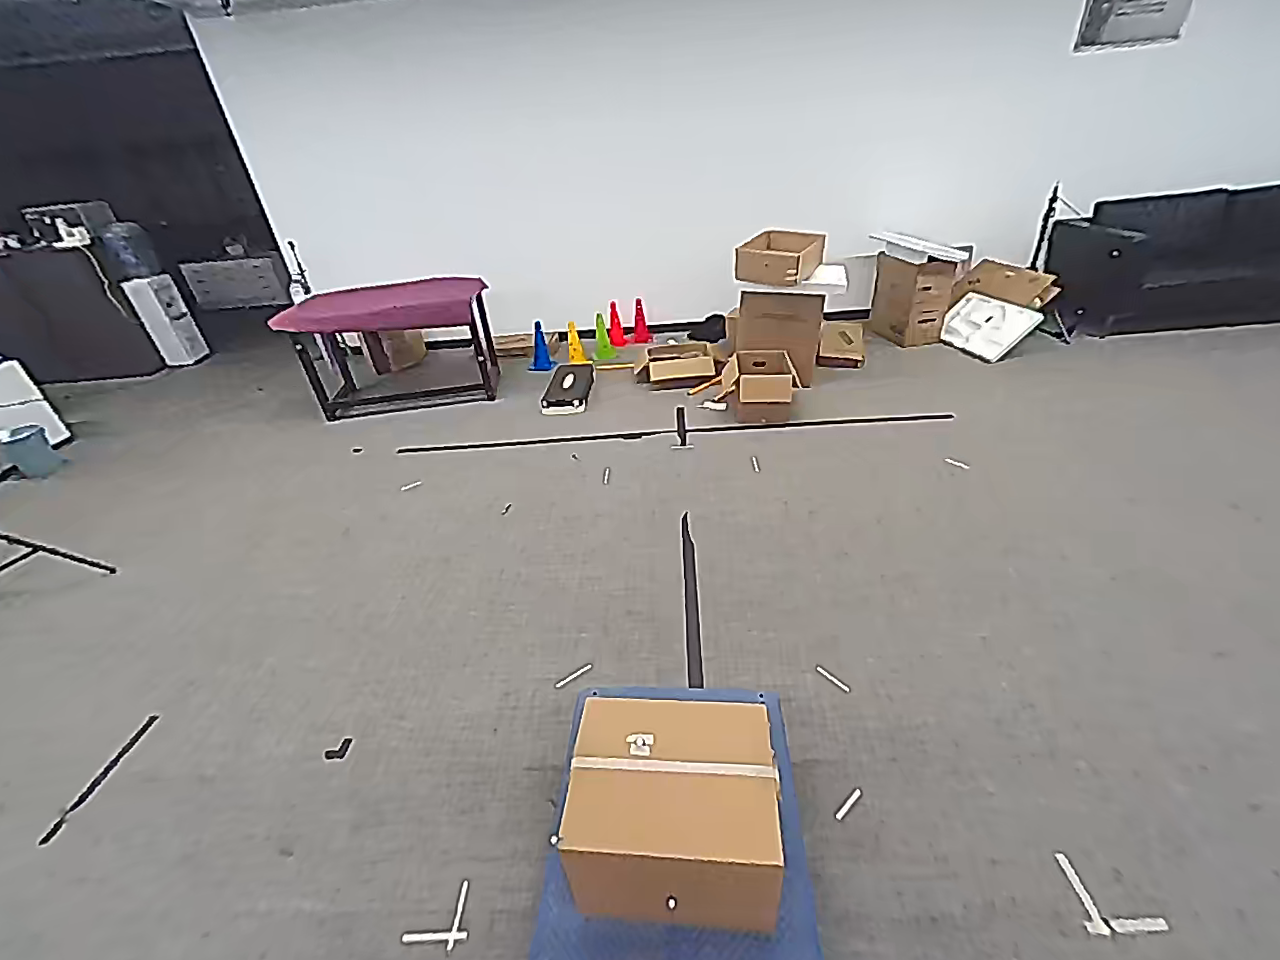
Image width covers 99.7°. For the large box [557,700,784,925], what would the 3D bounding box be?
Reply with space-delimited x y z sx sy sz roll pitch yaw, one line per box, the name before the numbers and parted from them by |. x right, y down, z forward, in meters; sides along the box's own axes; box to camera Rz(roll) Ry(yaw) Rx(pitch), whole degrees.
large box | 0.075 0.693 1.145 0.408 0.320 0.320 -2 32 7
